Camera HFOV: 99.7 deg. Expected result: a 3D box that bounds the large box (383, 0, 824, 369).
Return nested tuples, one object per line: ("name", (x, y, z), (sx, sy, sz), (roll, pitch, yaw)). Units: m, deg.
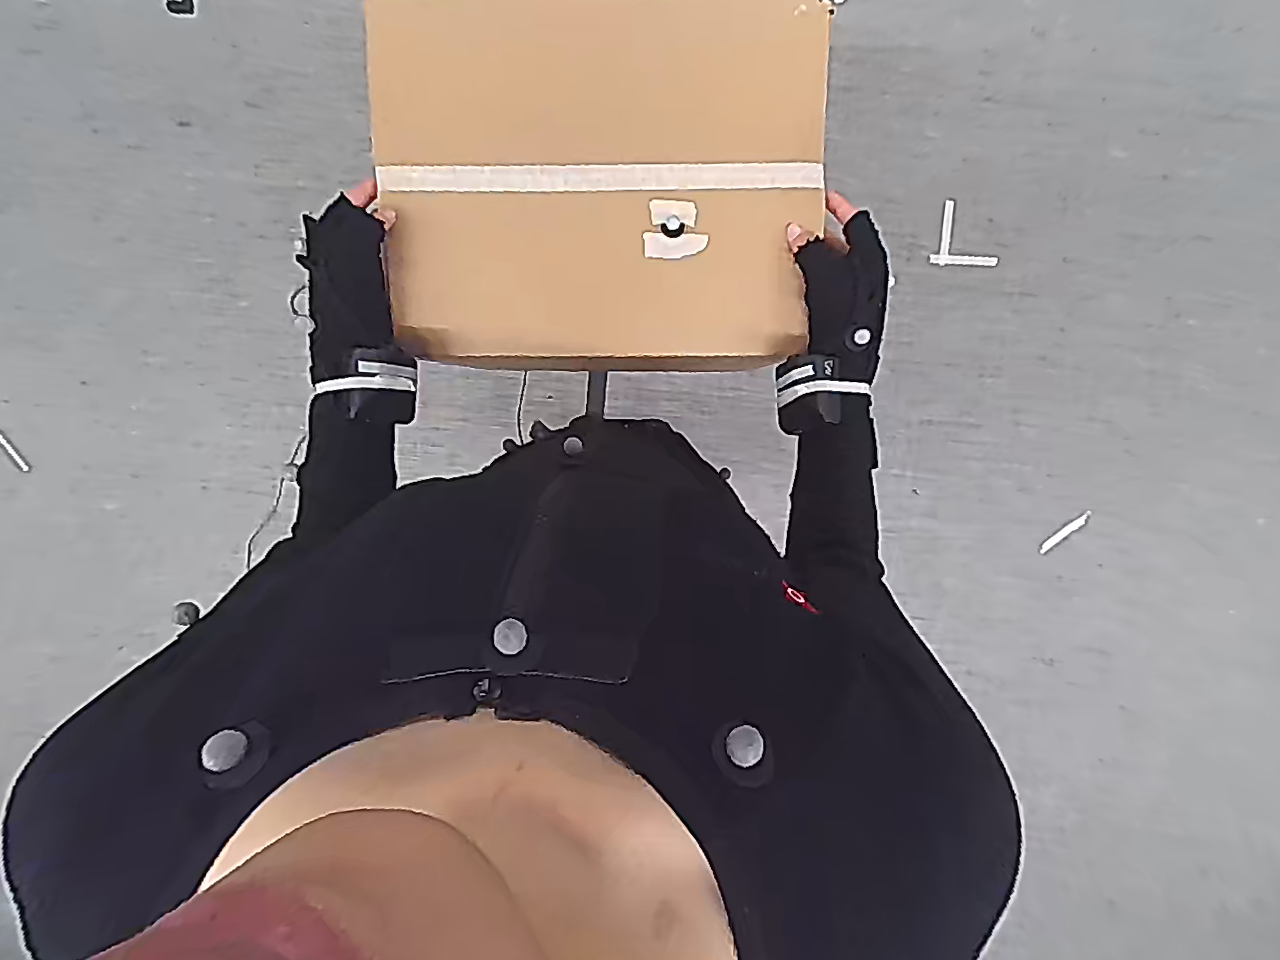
("large box", (-0.034, -0.303, 0.651), (0.408, 0.320, 0.320), (0, 99, 0))
